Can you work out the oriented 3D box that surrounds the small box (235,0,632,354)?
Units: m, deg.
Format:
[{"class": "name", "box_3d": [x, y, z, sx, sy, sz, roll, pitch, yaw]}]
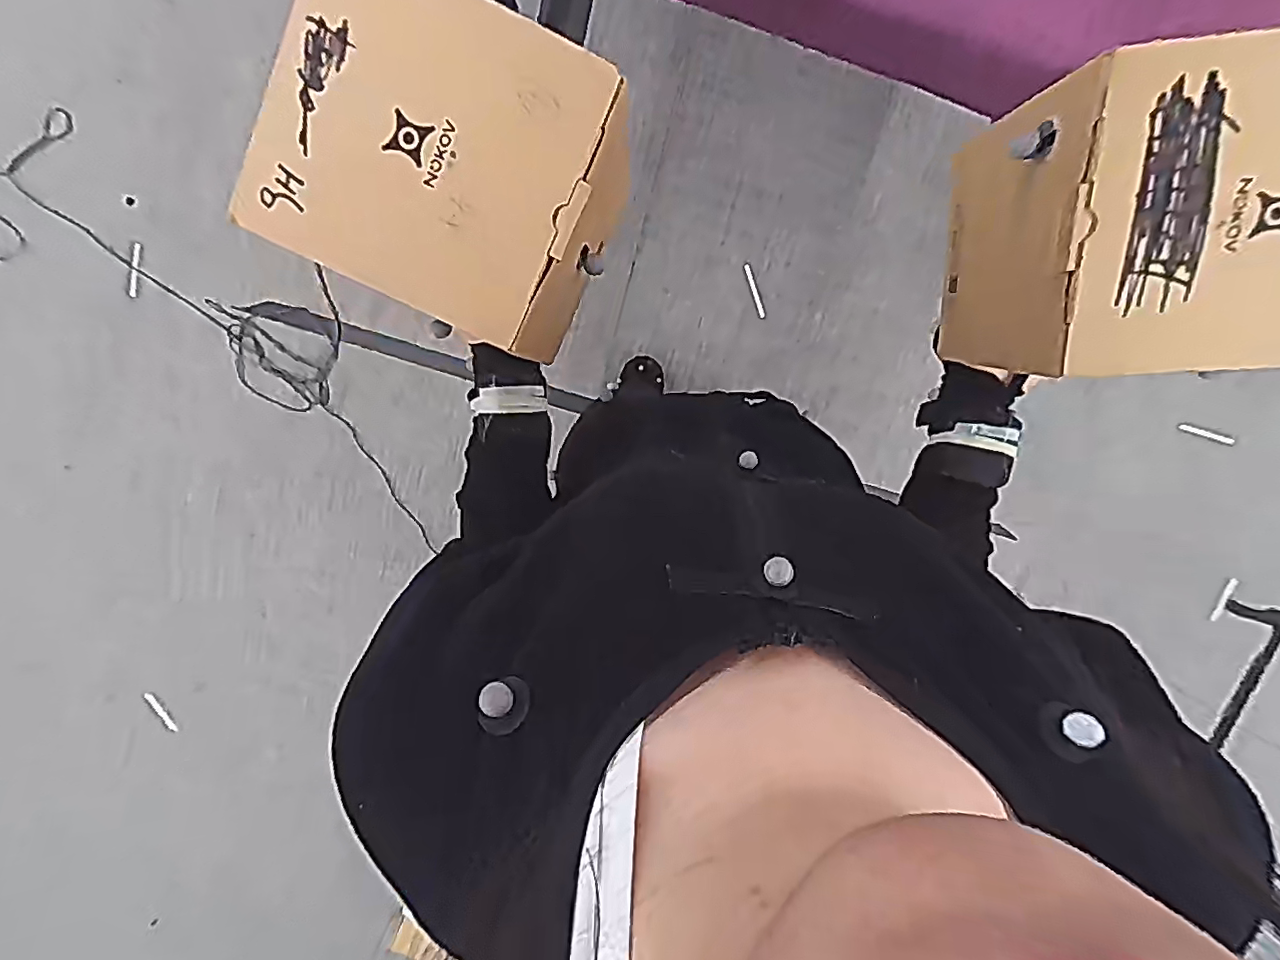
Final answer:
[{"class": "small box", "box_3d": [-0.118, -0.199, 0.377, 0.179, 0.176, 0.168, 25, 98, -6]}]
